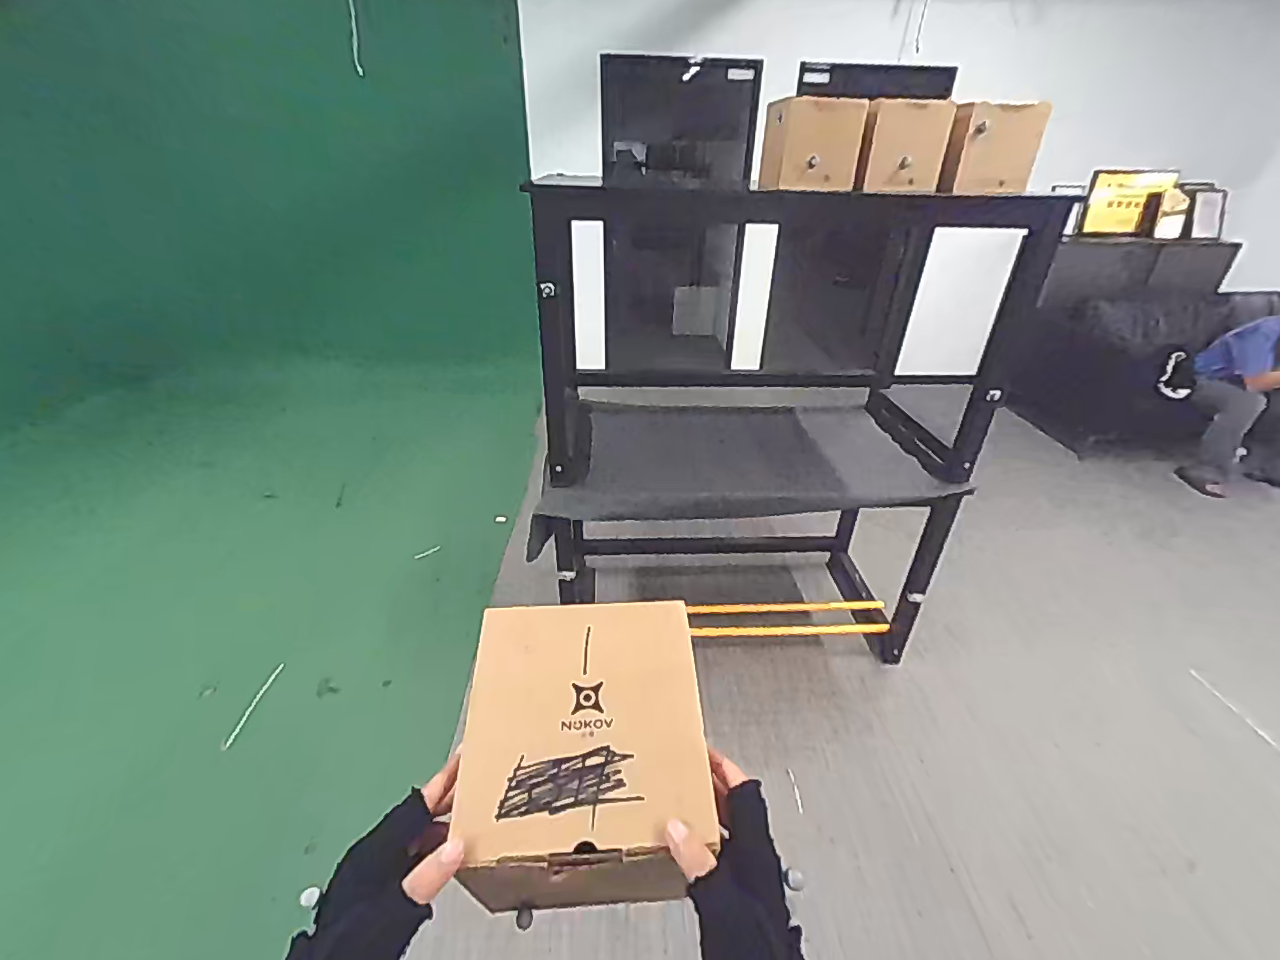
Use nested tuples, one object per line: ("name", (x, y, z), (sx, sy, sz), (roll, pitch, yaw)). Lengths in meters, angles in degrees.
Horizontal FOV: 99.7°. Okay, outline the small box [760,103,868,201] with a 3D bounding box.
("small box", (0.374, -0.724, 1.202), (0.168, 0.176, 0.179), (0, 30, -4))
